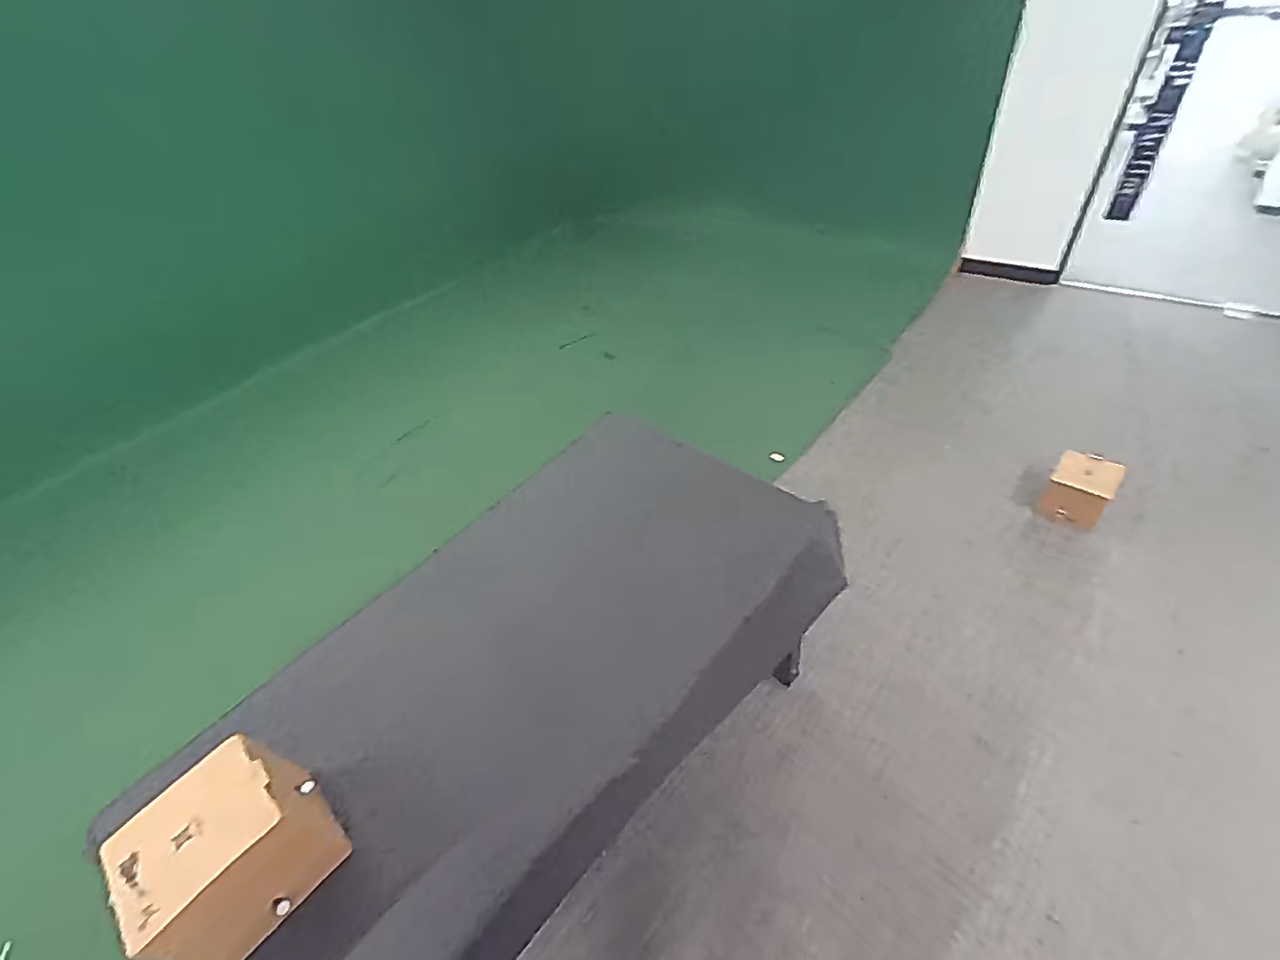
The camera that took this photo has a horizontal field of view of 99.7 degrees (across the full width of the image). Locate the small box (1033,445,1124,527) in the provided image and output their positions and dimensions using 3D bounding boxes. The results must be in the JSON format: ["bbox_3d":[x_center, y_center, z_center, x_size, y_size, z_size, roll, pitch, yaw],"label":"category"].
[{"bbox_3d":[1.436,0.019,1.780,0.168,0.176,0.179,29,58,37],"label":"small box"}]

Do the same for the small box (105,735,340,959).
[{"bbox_3d":[-0.539,0.492,0.724,0.168,0.176,0.179,28,56,33],"label":"small box"}]
